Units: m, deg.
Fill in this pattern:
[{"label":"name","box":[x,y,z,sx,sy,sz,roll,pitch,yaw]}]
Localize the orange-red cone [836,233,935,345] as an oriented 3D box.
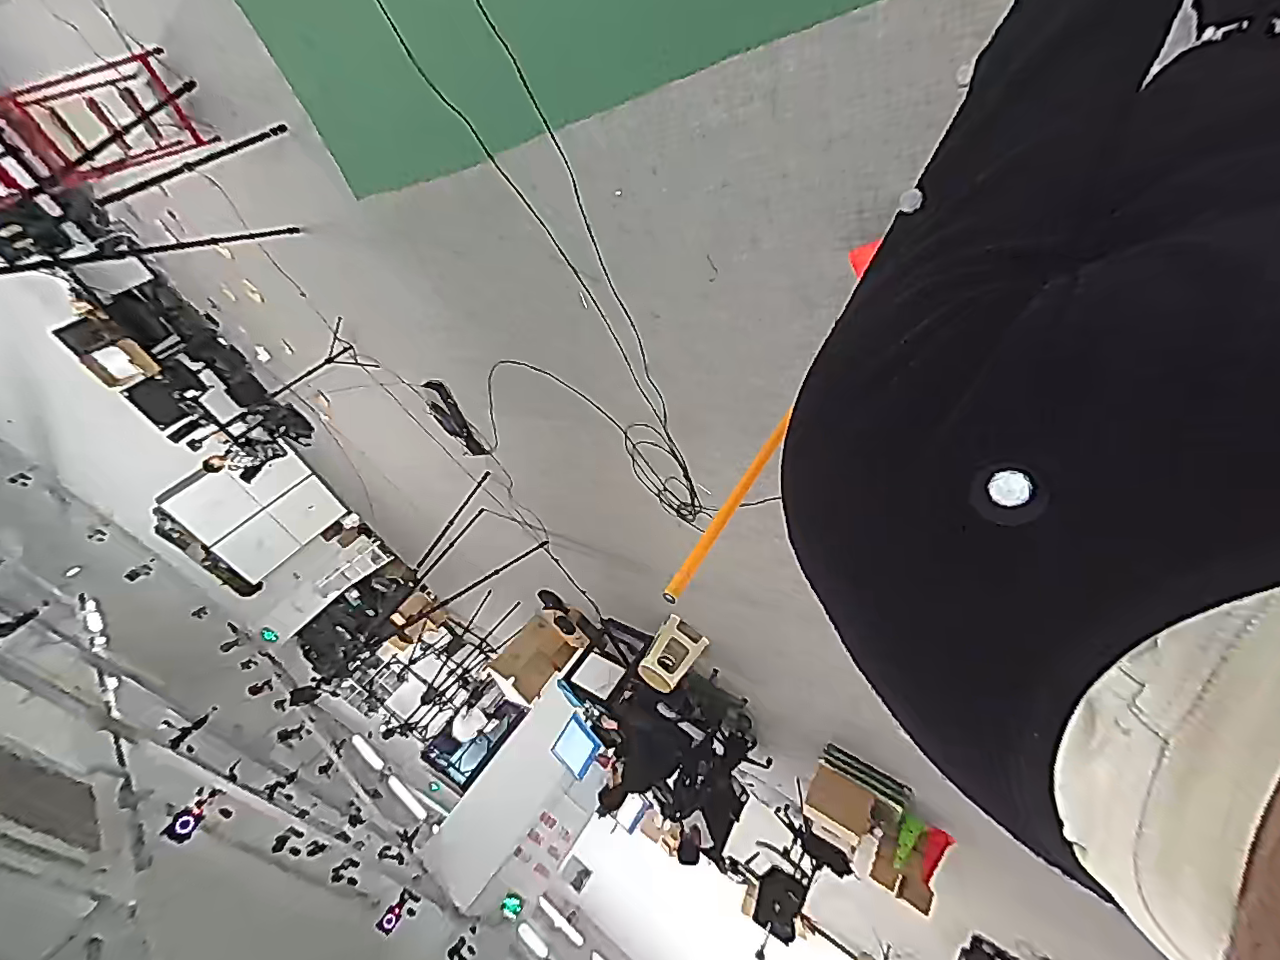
[{"label":"orange-red cone","box":[0.604,-0.462,1.426,0.199,0.360,0.198,-2,129,51]}]
